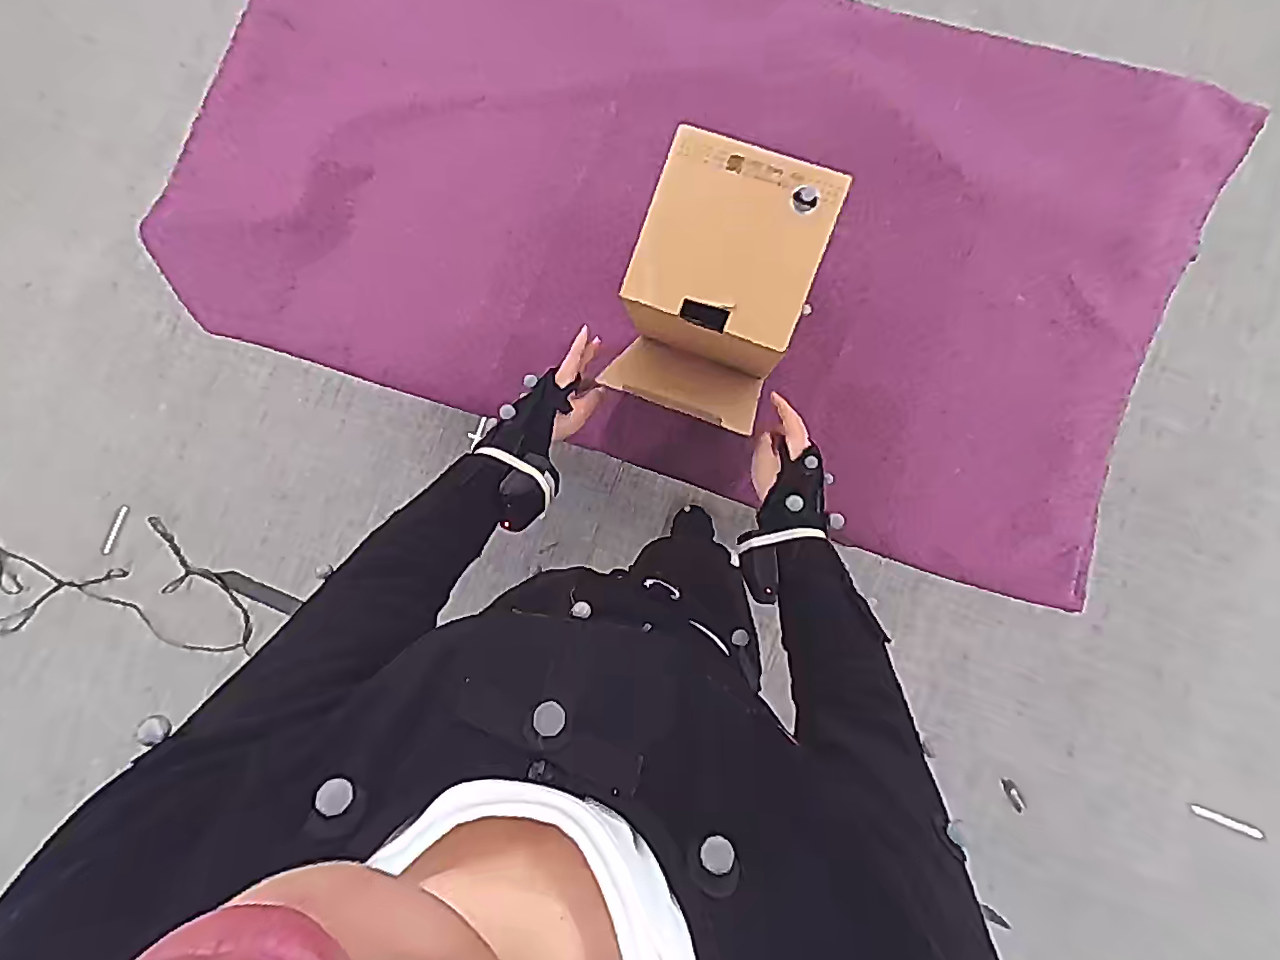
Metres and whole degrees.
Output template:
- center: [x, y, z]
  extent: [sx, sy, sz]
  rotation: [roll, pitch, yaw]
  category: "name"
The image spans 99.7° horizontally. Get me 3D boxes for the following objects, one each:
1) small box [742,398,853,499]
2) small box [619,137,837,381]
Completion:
- center: [0.332, -0.059, 1.182]
  extent: [0.179, 0.176, 0.168]
  rotation: [19, 88, 6]
  category: "small box"
- center: [0.090, -0.223, 0.578]
  extent: [0.168, 0.179, 0.176]
  rotation: [21, 95, 5]
  category: "small box"
